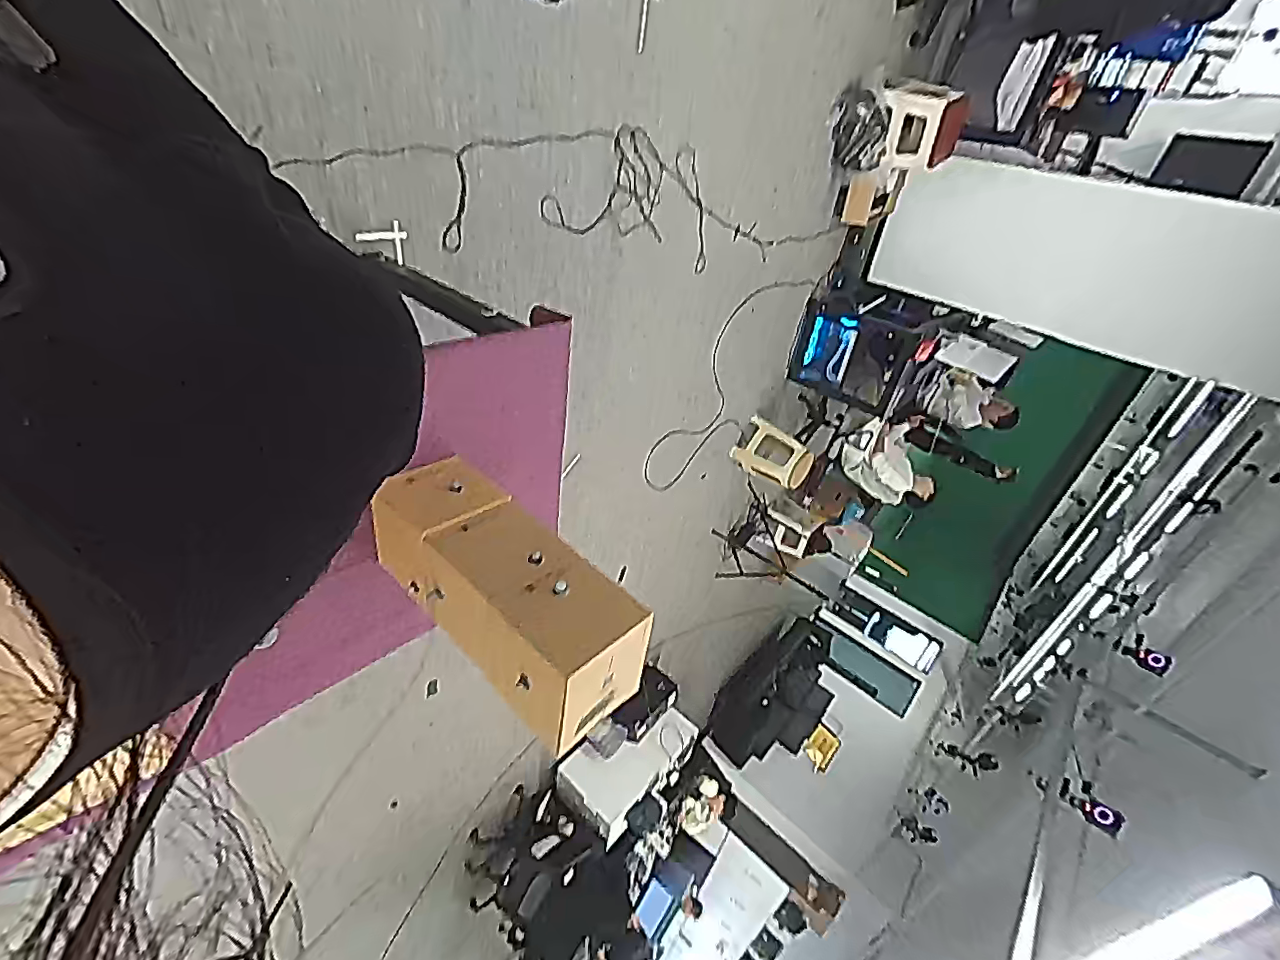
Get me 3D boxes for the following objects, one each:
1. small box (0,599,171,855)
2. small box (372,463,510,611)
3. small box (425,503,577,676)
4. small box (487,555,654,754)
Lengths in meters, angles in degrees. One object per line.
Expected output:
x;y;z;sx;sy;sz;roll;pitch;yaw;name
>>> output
-0.678;0.271;0.617;0.168;0.176;0.179;-23;135;-47;small box
-0.347;0.087;0.948;0.168;0.176;0.179;-26;138;-43;small box
-0.226;0.167;0.871;0.168;0.176;0.179;-27;139;-43;small box
-0.106;0.242;0.785;0.168;0.176;0.179;-26;137;-43;small box
